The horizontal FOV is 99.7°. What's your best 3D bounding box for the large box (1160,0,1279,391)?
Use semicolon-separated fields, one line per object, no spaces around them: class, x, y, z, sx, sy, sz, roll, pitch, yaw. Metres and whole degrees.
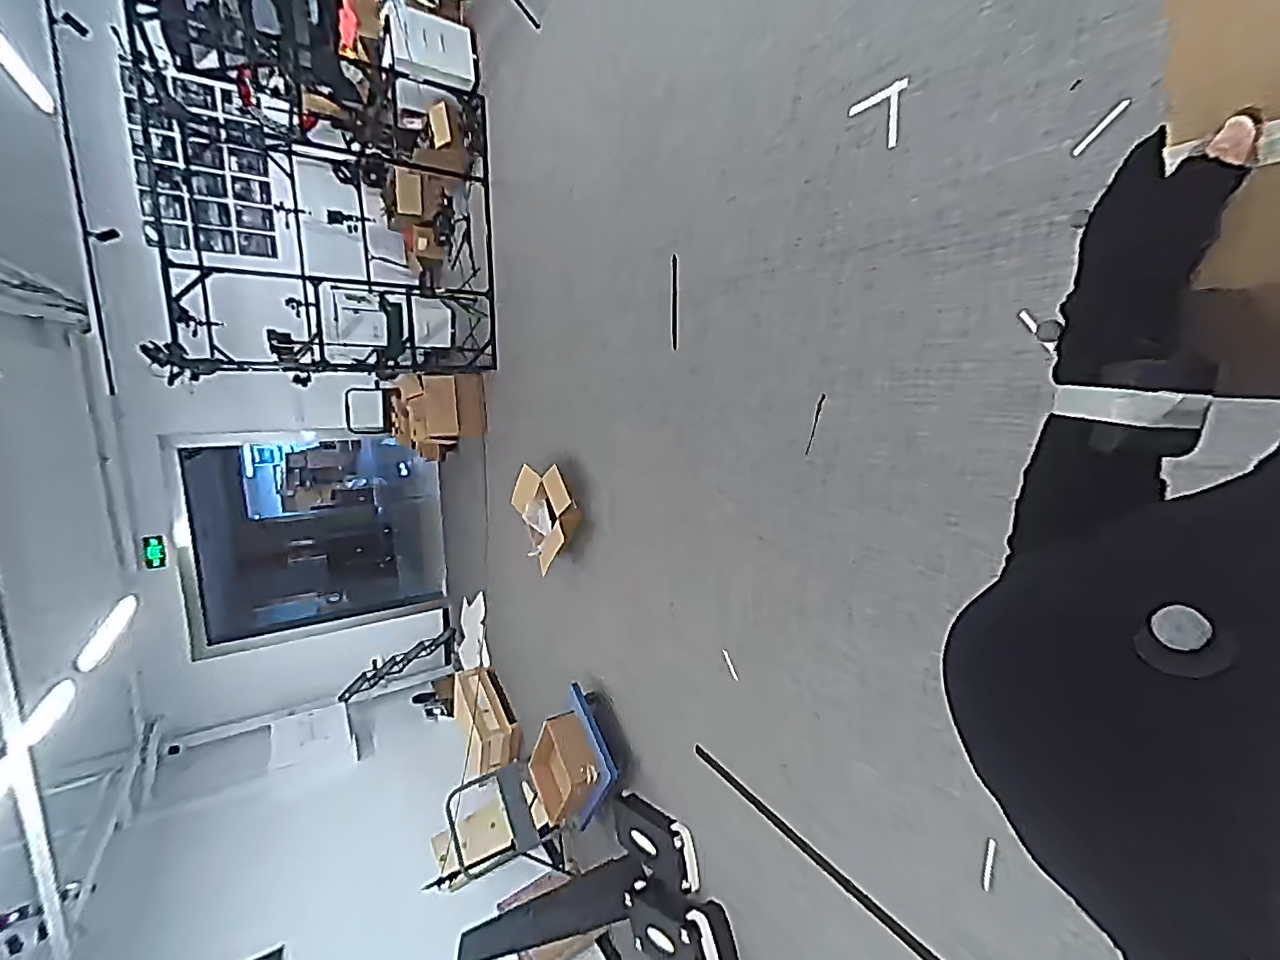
large box;0.542;-0.245;0.227;0.408;0.320;0.320;17;137;56
